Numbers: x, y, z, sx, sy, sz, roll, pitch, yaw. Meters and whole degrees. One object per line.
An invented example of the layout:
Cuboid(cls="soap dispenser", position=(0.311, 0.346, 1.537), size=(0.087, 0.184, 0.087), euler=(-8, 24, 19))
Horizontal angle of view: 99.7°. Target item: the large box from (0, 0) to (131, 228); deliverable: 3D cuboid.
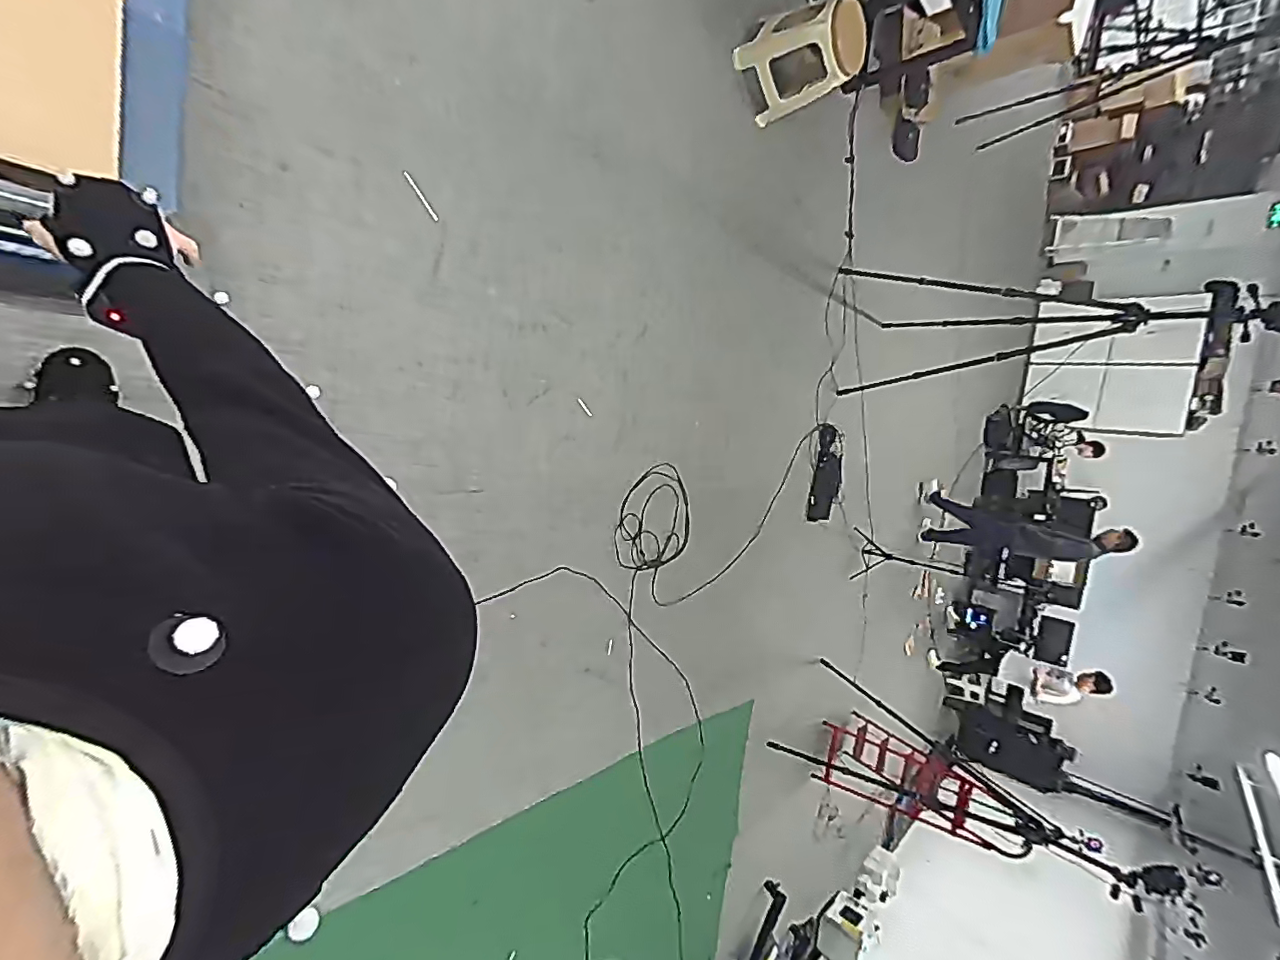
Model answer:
Cuboid(cls="large box", position=(-0.962, -0.643, 0.784), size=(0.320, 0.320, 0.408), euler=(0, 97, -47))
